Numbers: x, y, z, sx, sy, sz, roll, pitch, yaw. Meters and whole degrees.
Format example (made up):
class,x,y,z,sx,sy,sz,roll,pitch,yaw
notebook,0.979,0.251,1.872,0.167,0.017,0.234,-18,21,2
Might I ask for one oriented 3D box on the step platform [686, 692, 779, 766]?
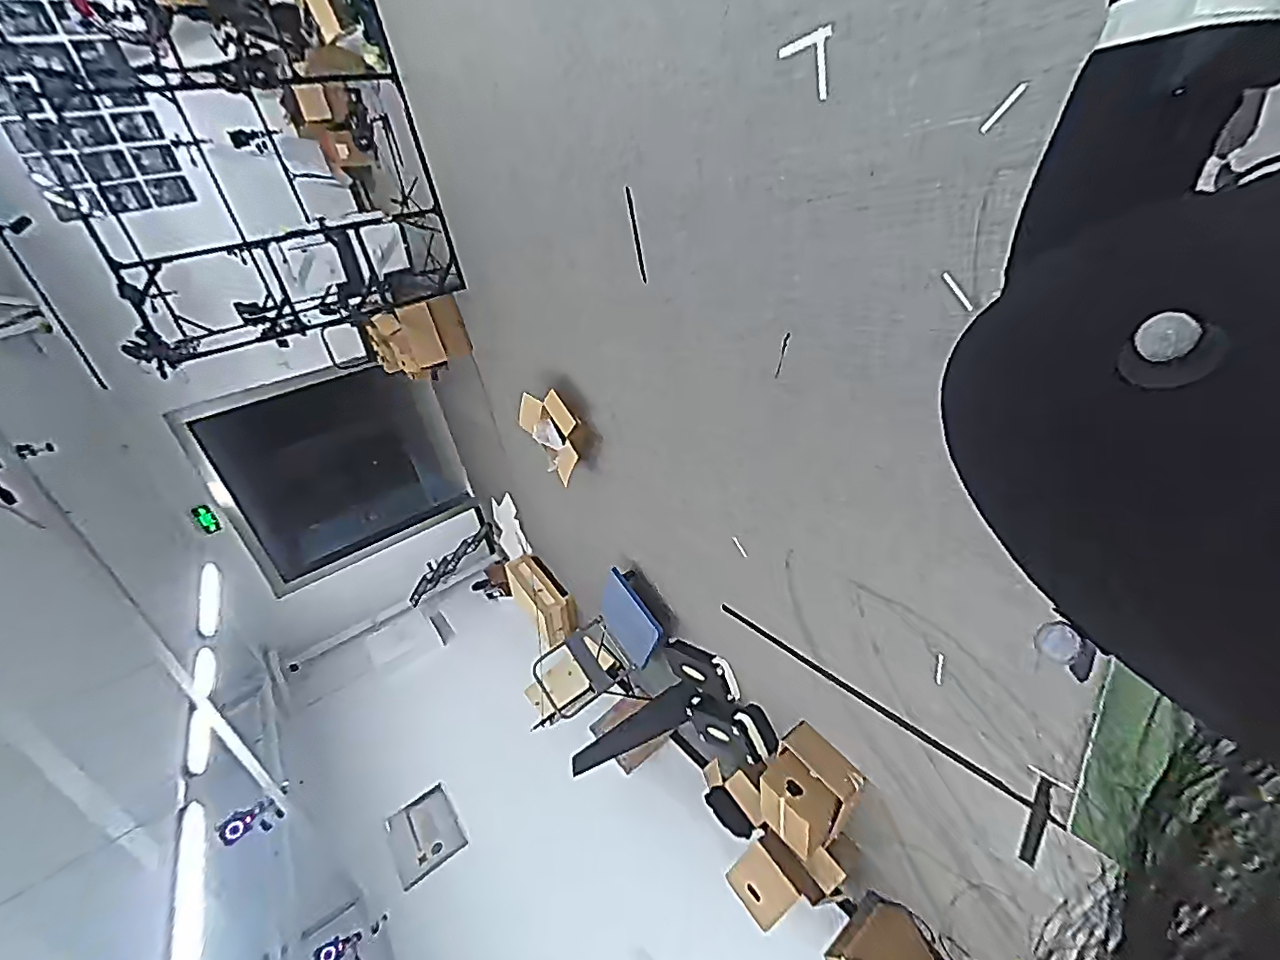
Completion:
class,x,y,z,sx,sy,sz,roll,pitch,yaw
step platform,0.568,1.588,3.477,0.286,0.204,0.684,63,152,-1
